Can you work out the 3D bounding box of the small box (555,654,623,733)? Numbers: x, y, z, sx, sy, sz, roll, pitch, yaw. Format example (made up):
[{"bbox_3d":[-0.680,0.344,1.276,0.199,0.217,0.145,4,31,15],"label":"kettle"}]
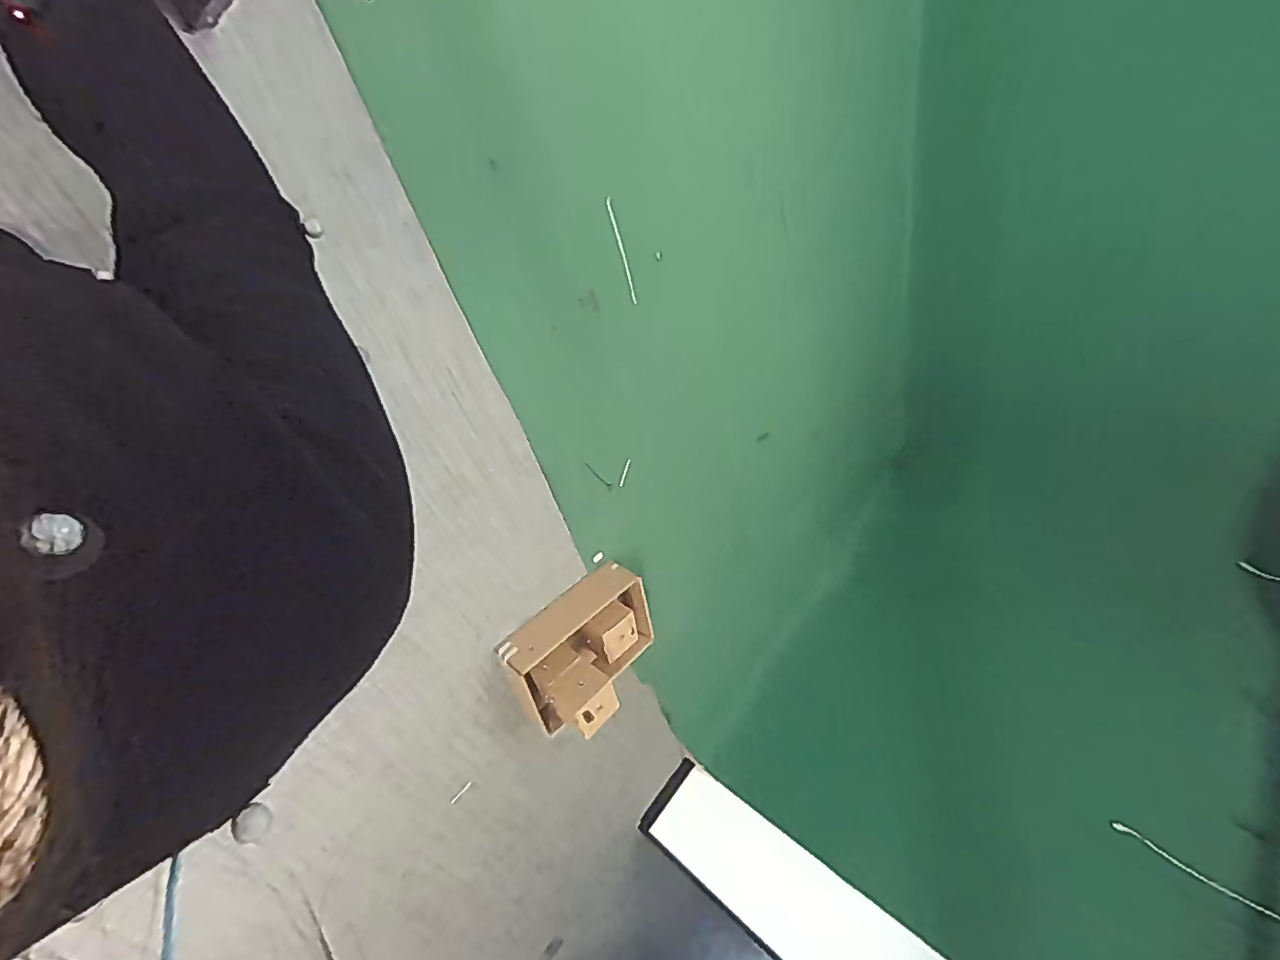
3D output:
[{"bbox_3d":[-0.196,0.789,2.010,0.179,0.176,0.168,-37,130,-32],"label":"small box"}]
